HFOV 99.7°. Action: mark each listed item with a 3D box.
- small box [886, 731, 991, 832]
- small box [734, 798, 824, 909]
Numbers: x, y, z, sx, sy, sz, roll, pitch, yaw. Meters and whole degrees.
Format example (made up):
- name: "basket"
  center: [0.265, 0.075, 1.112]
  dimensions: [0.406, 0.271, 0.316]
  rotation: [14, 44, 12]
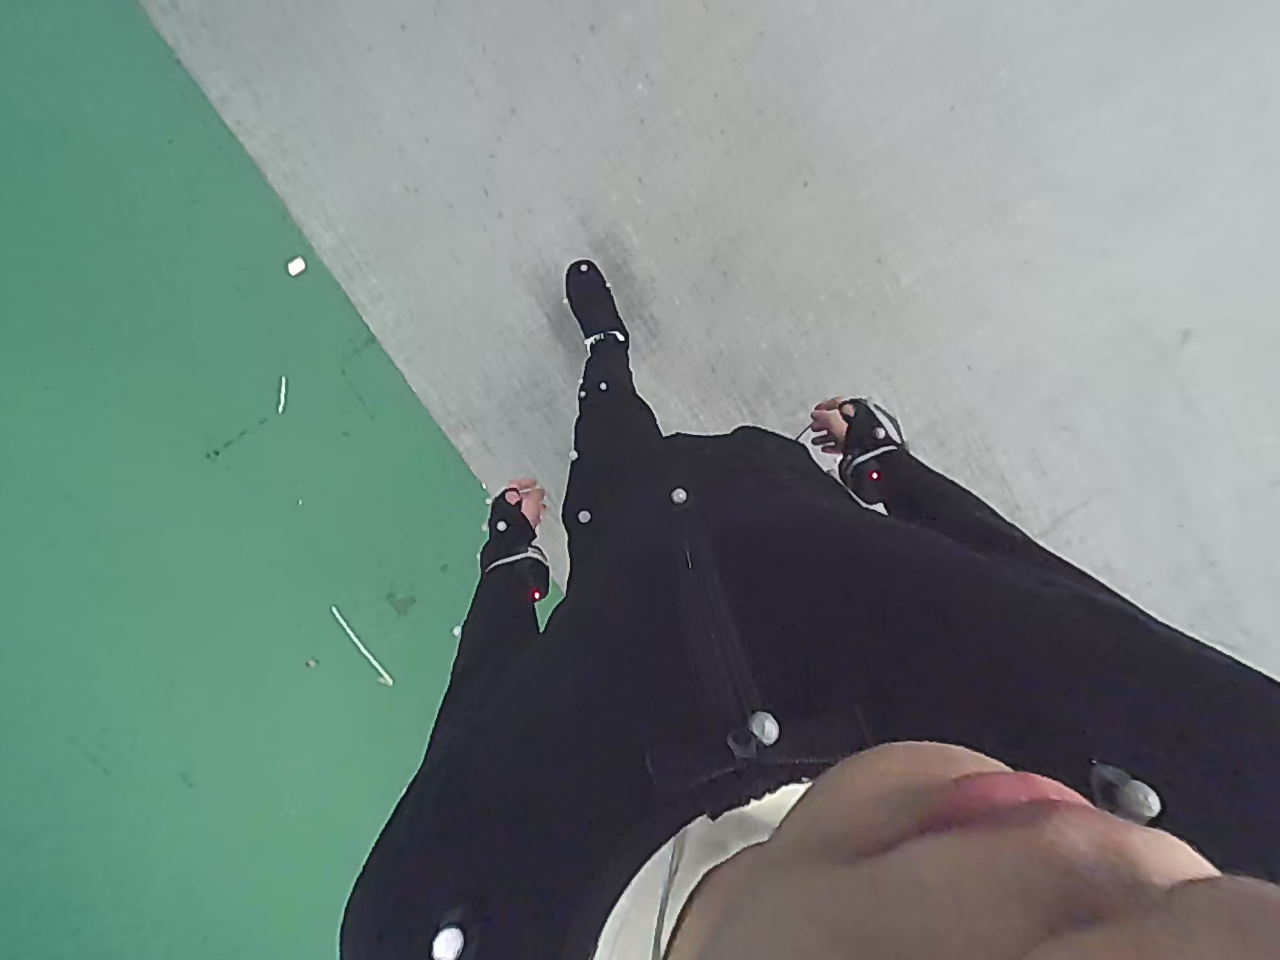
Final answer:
- name: "small box"
  center: [0.820, 0.818, 1.507]
  dimensions: [0.168, 0.176, 0.179]
  rotation: [-30, 99, 6]
- name: "small box"
  center: [0.390, 1.062, 1.553]
  dimensions: [0.179, 0.176, 0.168]
  rotation: [-29, 98, 5]
